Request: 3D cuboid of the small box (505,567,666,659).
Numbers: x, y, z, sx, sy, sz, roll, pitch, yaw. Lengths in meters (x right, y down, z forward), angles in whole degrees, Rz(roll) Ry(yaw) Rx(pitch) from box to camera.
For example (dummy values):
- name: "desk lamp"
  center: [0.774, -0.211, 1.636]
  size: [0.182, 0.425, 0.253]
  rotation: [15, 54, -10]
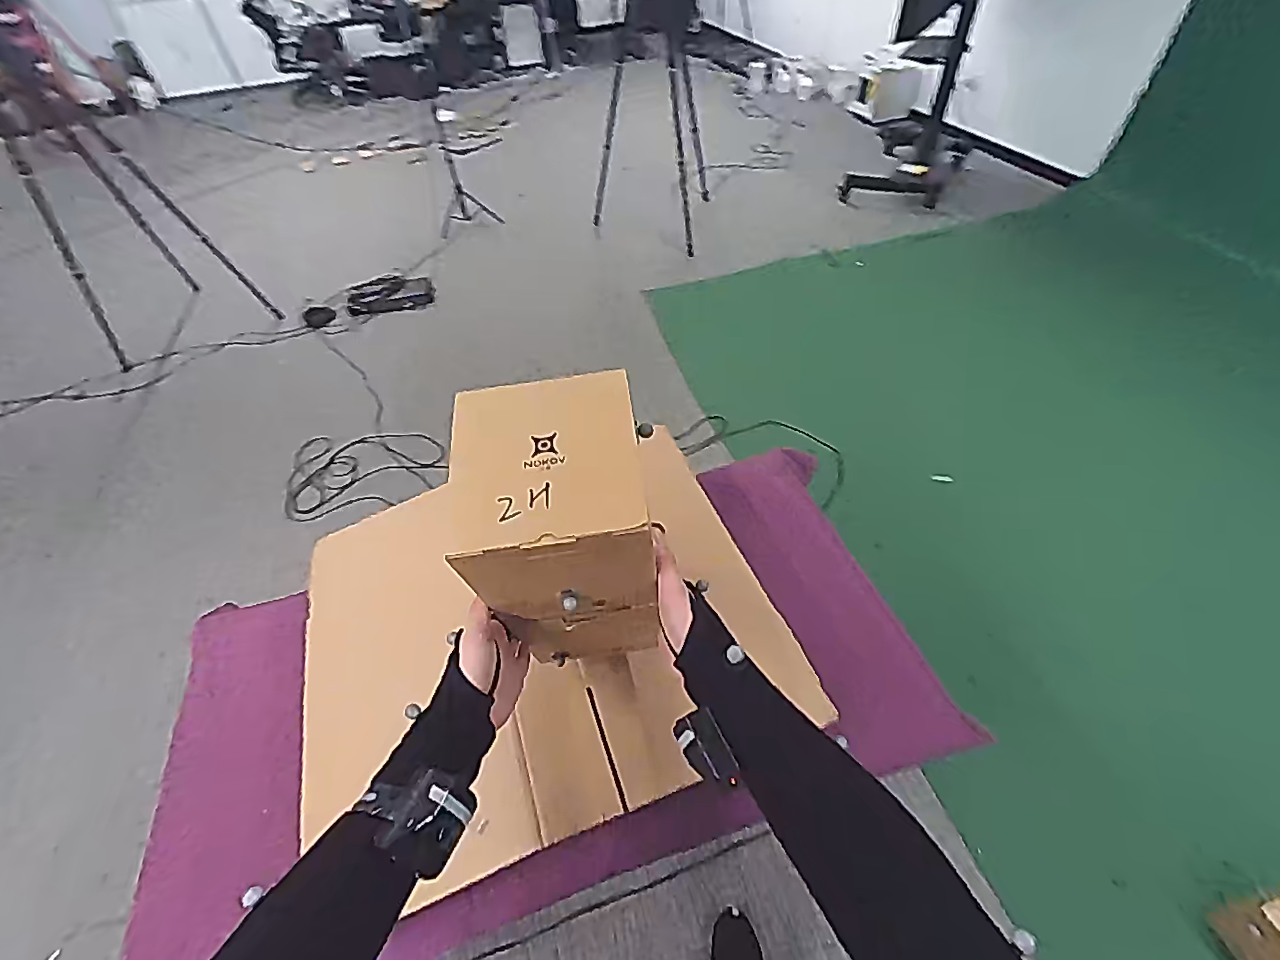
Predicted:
- name: "small box"
  center: [-0.060, 0.112, 0.666]
  size: [0.168, 0.176, 0.179]
  rotation: [-7, 57, 0]

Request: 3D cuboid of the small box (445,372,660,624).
- name: "small box"
  center: [-0.073, 0.023, 0.529]
  size: [0.168, 0.176, 0.179]
  rotation: [-8, 58, 0]
